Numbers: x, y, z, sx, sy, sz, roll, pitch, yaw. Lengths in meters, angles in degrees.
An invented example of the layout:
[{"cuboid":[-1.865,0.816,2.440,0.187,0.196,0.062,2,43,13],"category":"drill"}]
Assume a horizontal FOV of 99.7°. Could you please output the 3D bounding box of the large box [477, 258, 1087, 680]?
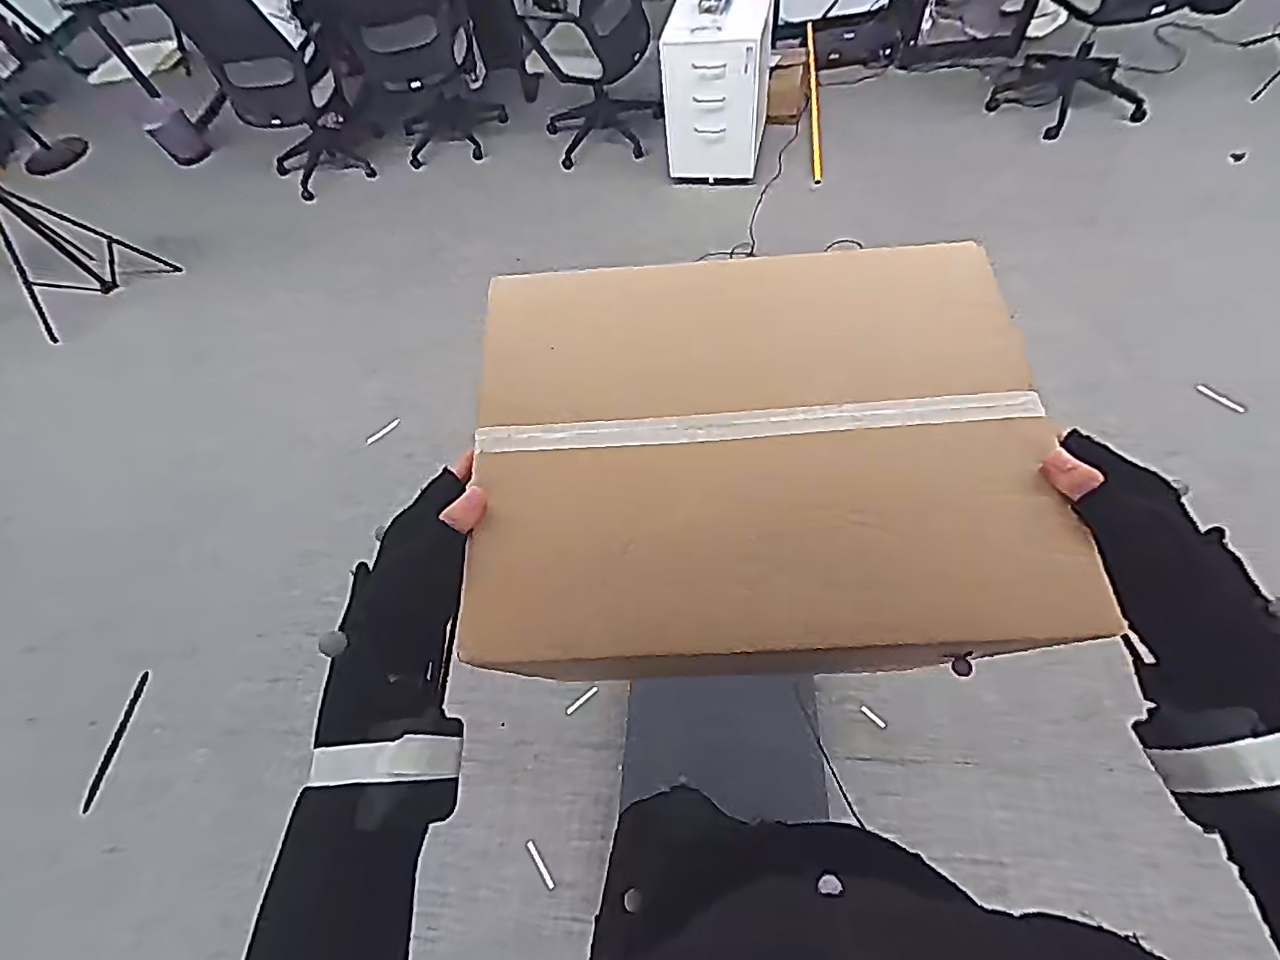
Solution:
[{"cuboid":[0.092,0.024,0.543,0.408,0.320,0.320,-4,67,3],"category":"large box"}]
